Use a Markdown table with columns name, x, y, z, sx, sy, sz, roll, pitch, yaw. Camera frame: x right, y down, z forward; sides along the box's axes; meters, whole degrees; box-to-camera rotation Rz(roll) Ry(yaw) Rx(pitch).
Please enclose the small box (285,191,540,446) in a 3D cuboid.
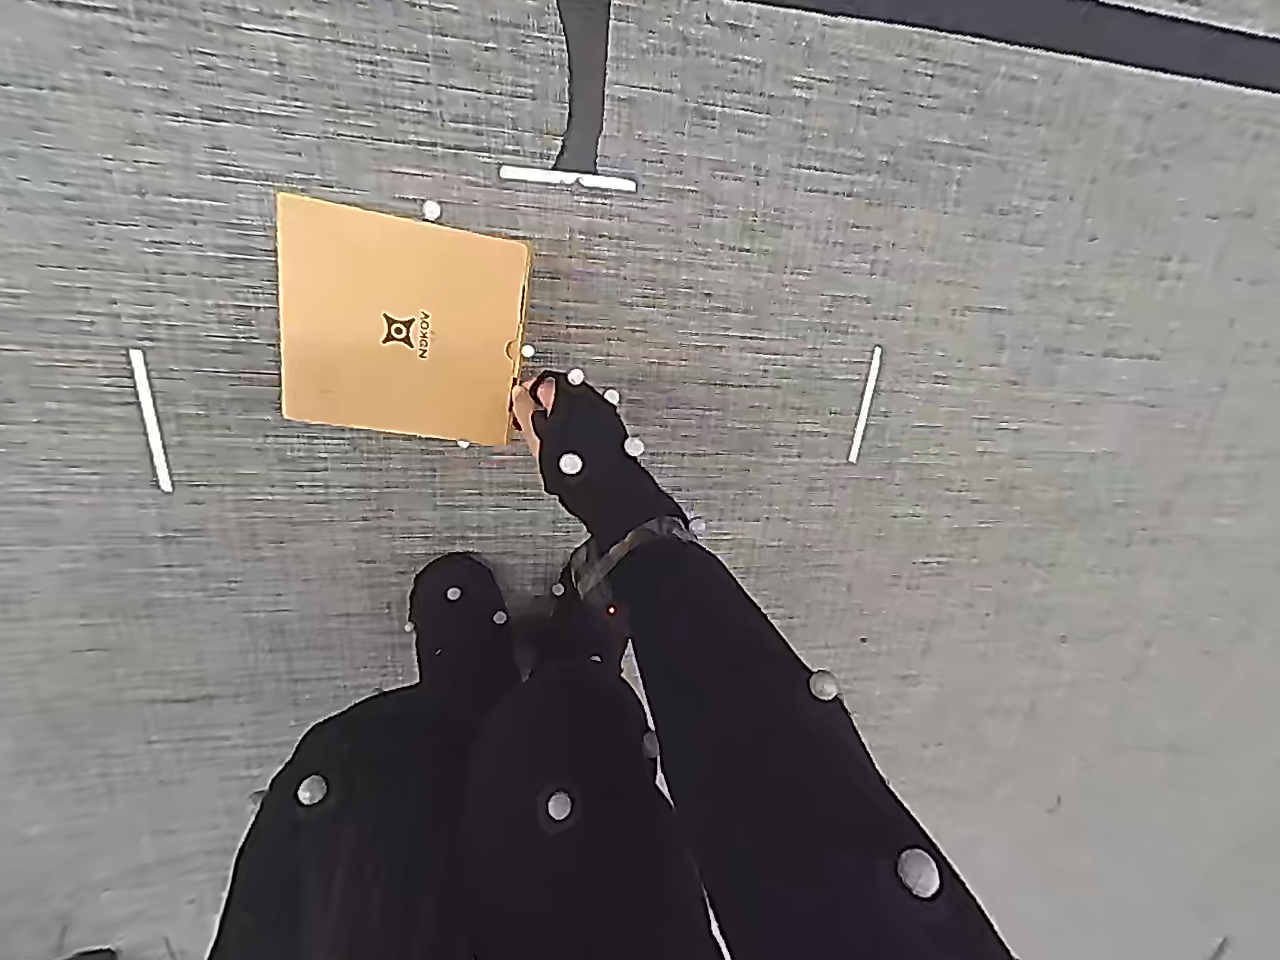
| name | x | y | z | sx | sy | sz | roll | pitch | yaw |
| --- | --- | --- | --- | --- | --- | --- | --- | --- | --- |
| small box | -0.188 | -0.141 | 0.487 | 0.179 | 0.176 | 0.168 | 6 | 109 | -14 |
